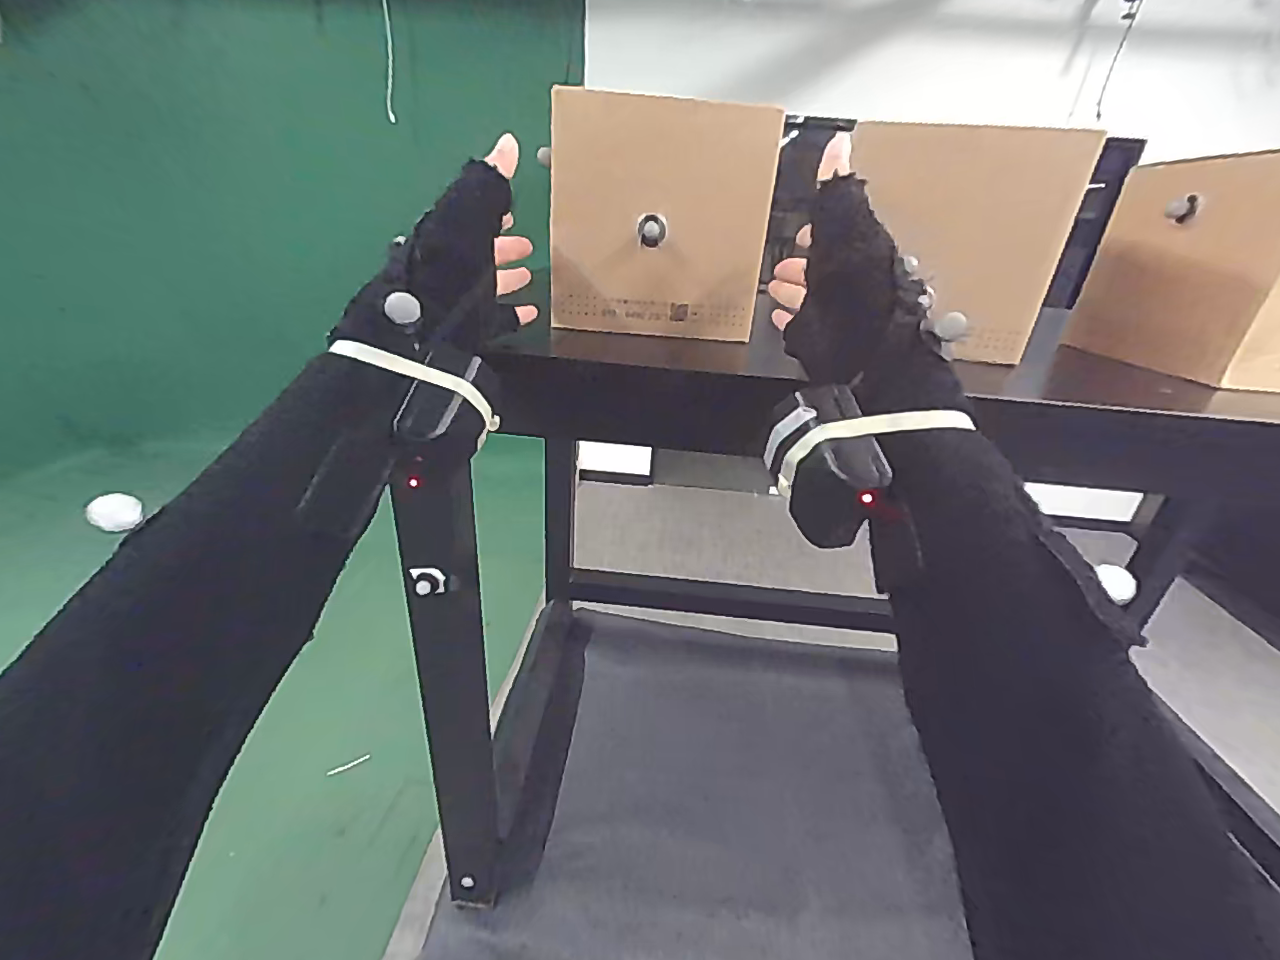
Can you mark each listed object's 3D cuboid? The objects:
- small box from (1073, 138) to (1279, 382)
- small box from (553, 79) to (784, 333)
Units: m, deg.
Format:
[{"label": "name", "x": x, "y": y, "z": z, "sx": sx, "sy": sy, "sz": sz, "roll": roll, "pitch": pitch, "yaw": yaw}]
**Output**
[{"label": "small box", "x": 0.529, "y": -0.178, "z": 0.453, "sx": 0.168, "sy": 0.176, "sz": 0.179, "roll": 3, "pitch": 25, "yaw": -2}, {"label": "small box", "x": 0.018, "y": -0.233, "z": 0.484, "sx": 0.168, "sy": 0.176, "sz": 0.179, "roll": 4, "pitch": 26, "yaw": -1}]
